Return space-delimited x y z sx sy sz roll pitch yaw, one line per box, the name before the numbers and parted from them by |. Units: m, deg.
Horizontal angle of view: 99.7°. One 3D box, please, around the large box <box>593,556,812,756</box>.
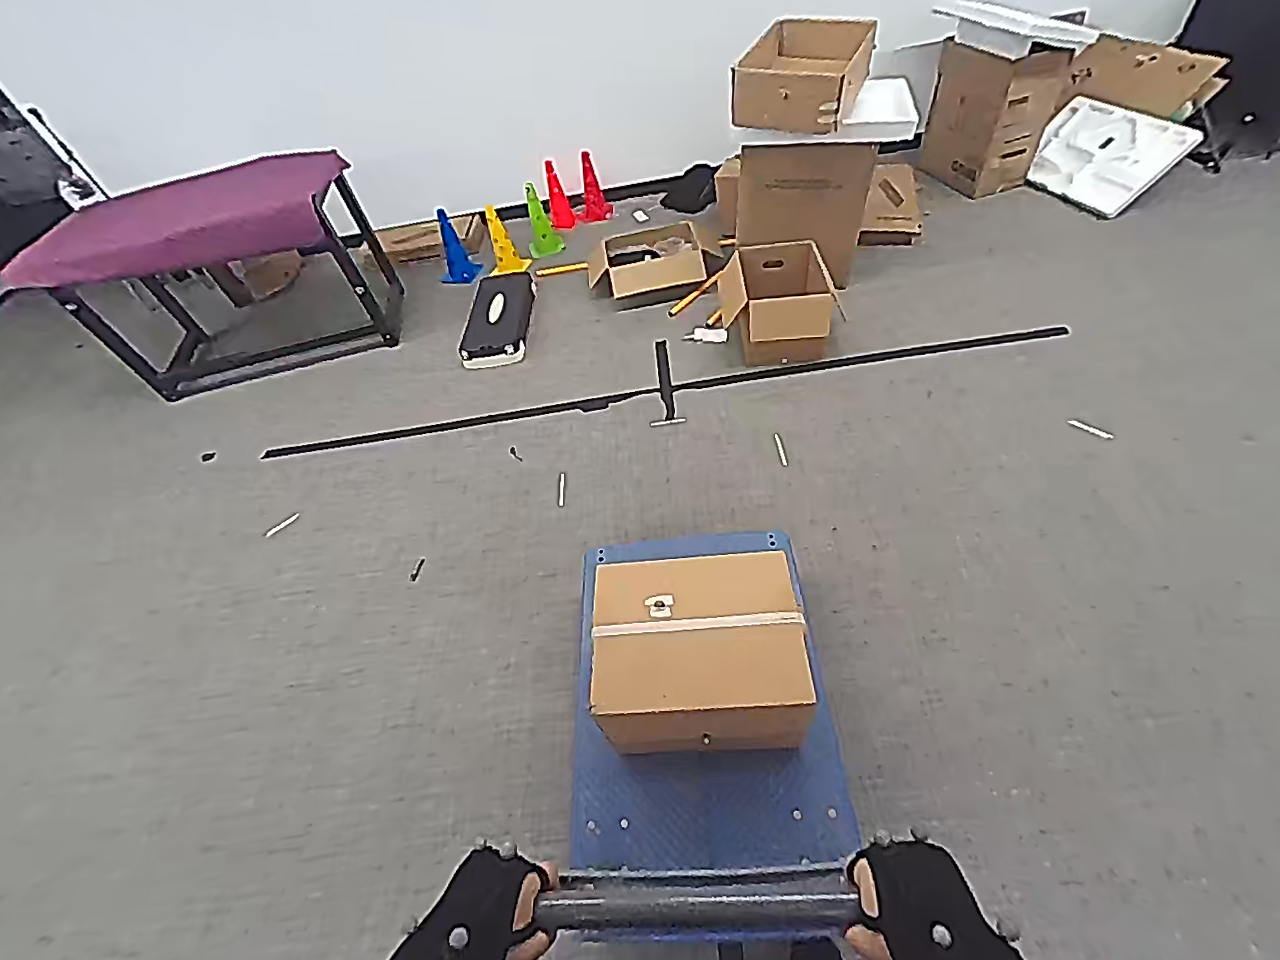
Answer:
large box | 0.129 0.393 1.179 0.408 0.320 0.320 -7 49 6
